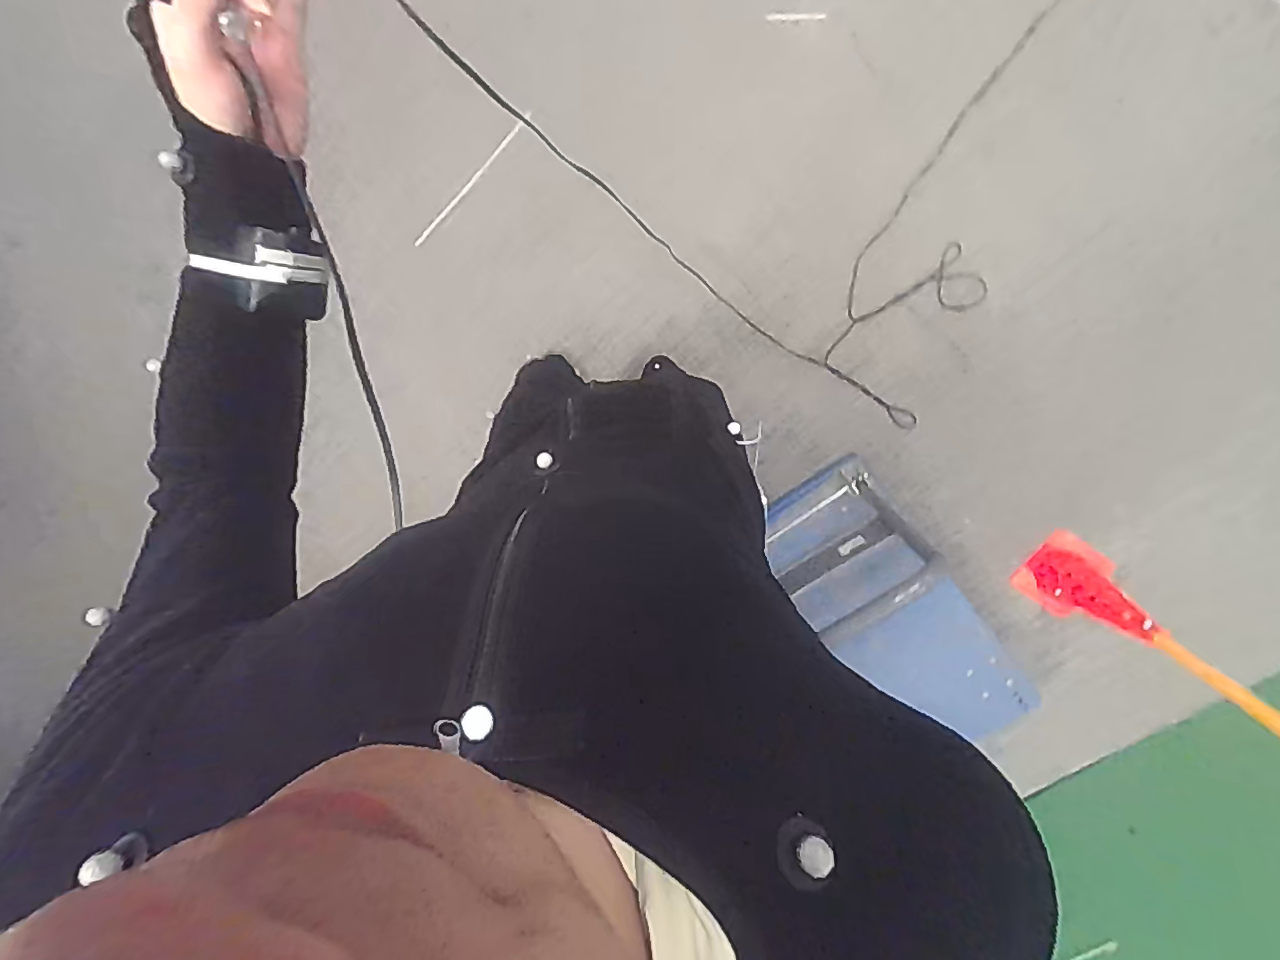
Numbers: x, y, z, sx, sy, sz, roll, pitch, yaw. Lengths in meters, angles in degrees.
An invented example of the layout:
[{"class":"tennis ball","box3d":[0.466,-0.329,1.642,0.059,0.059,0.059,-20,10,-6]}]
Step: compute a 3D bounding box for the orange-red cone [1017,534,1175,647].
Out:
[{"class":"orange-red cone","box3d":[1.181,0.309,1.361,0.198,0.360,0.199,35,105,-3]}]
